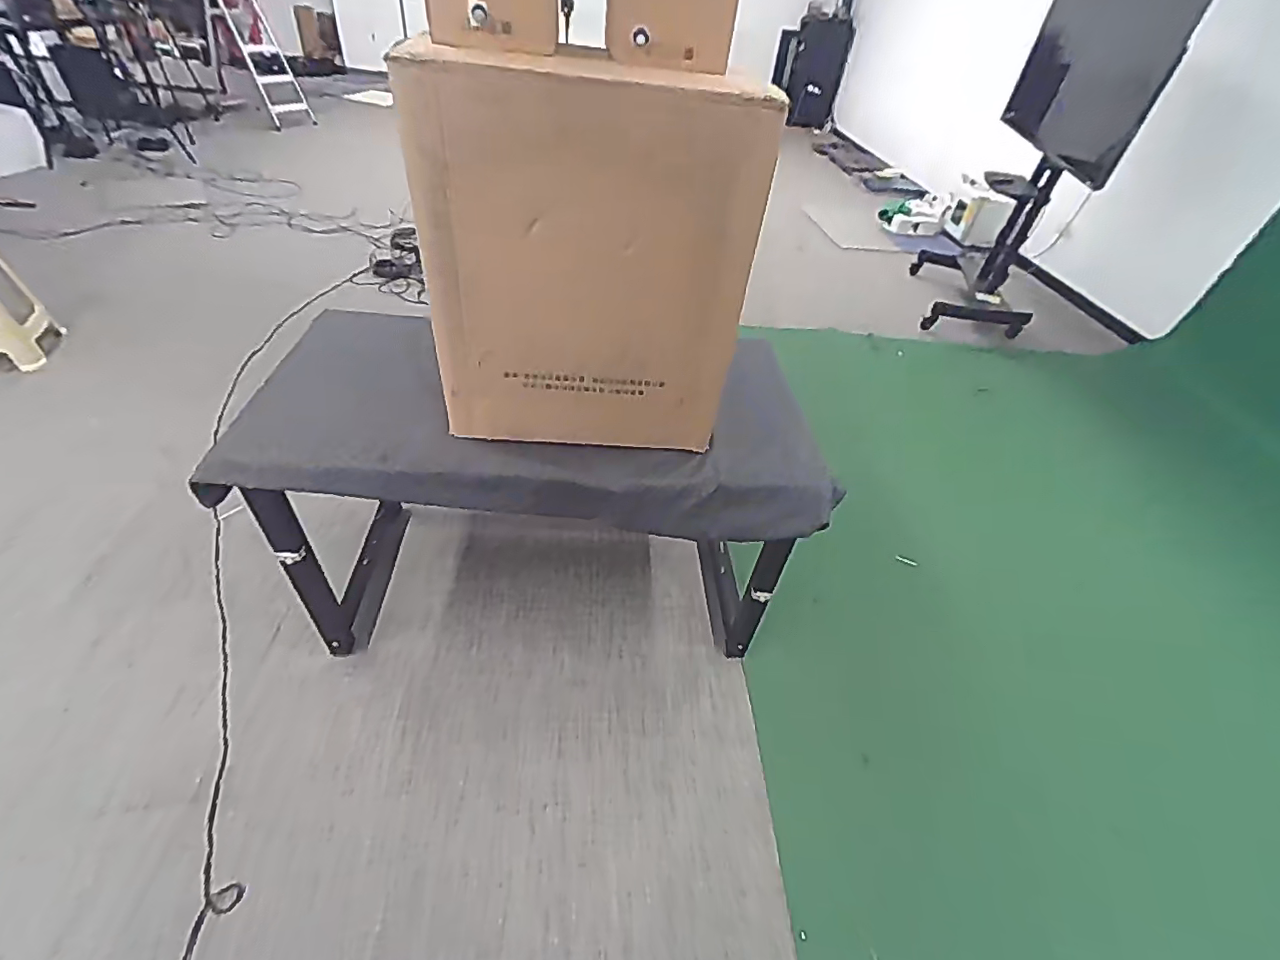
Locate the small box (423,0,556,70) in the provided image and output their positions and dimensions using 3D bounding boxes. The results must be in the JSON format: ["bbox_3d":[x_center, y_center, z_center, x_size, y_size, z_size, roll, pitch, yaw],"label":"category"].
[{"bbox_3d":[-0.206,-0.691,0.747,0.168,0.176,0.179,-1,46,-5],"label":"small box"}]

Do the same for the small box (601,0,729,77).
[{"bbox_3d":[0.033,-0.702,0.782,0.168,0.176,0.179,-2,44,-9],"label":"small box"}]
